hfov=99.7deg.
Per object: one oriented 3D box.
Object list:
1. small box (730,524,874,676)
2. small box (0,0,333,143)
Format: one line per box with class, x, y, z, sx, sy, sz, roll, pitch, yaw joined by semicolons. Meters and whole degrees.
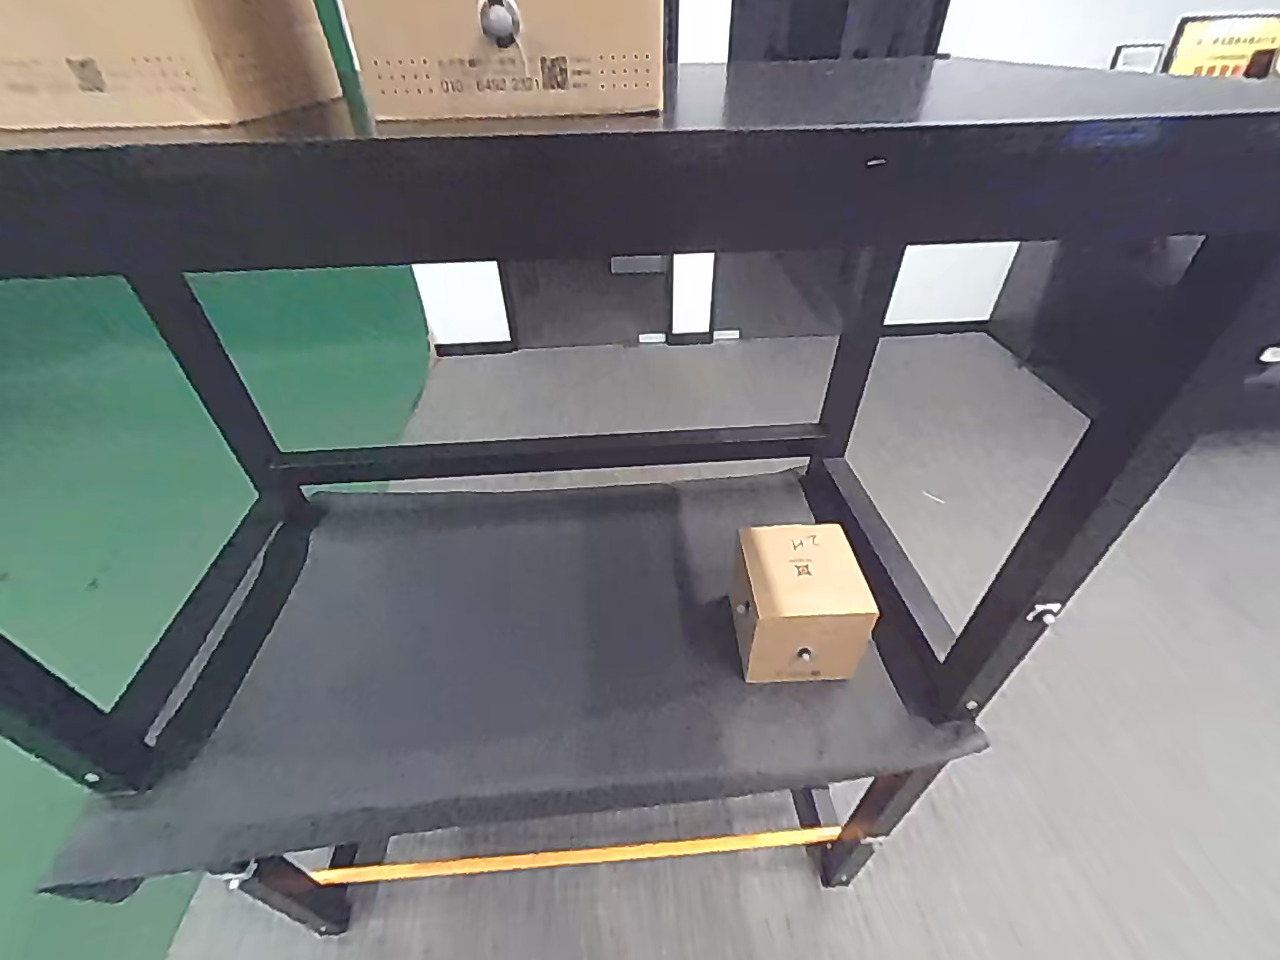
small box;0.238;0.190;0.843;0.168;0.176;0.179;-1;39;0
small box;-0.315;-0.304;0.316;0.168;0.176;0.179;-3;39;-2
